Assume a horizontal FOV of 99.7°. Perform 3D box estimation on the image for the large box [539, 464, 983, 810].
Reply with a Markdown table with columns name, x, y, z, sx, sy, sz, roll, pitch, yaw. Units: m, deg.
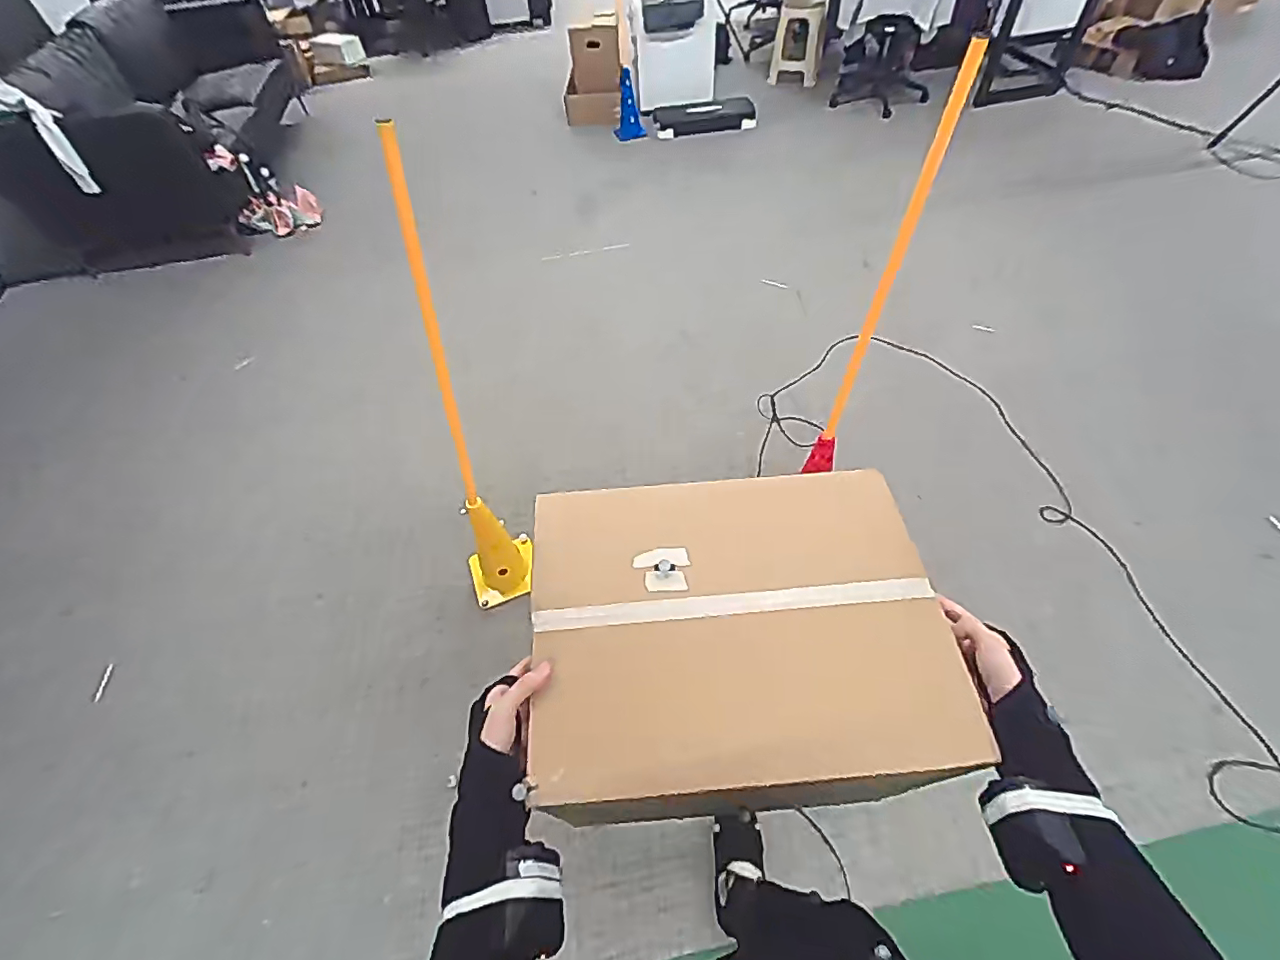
| name | x | y | z | sx | sy | sz | roll | pitch | yaw |
| --- | --- | --- | --- | --- | --- | --- | --- | --- | --- |
| large box | 0.103 | 0.209 | 0.680 | 0.408 | 0.320 | 0.320 | -6 | 54 | -1 |
